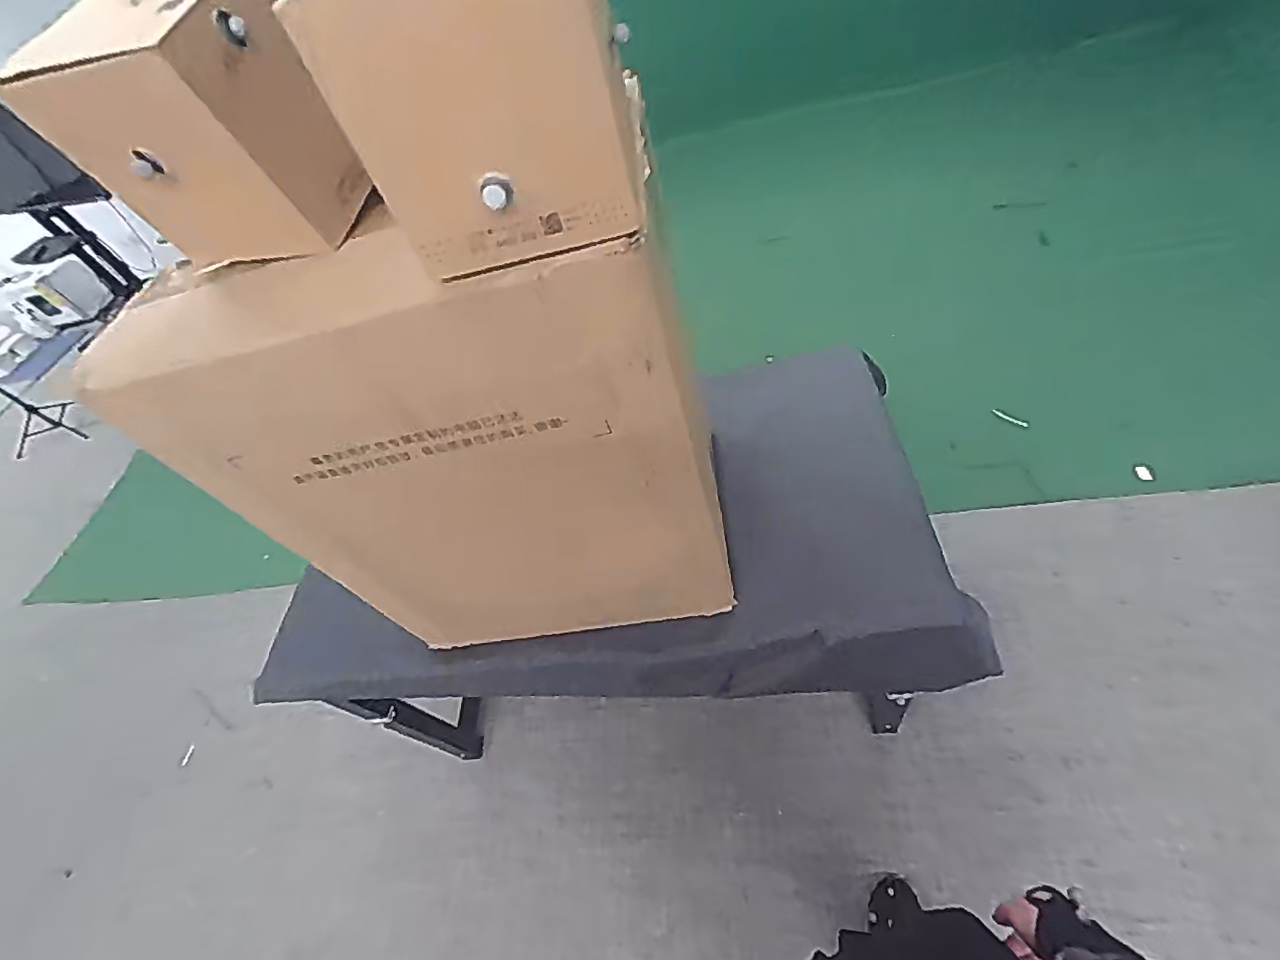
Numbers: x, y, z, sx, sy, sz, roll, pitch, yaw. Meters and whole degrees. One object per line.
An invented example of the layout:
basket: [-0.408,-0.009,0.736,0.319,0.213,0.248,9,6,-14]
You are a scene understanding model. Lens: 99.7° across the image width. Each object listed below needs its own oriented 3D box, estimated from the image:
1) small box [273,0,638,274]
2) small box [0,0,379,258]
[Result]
small box: [-0.100,-0.278,0.385,0.168,0.176,0.179,-9,52,10]
small box: [-0.360,-0.318,0.474,0.179,0.176,0.168,3,66,17]
